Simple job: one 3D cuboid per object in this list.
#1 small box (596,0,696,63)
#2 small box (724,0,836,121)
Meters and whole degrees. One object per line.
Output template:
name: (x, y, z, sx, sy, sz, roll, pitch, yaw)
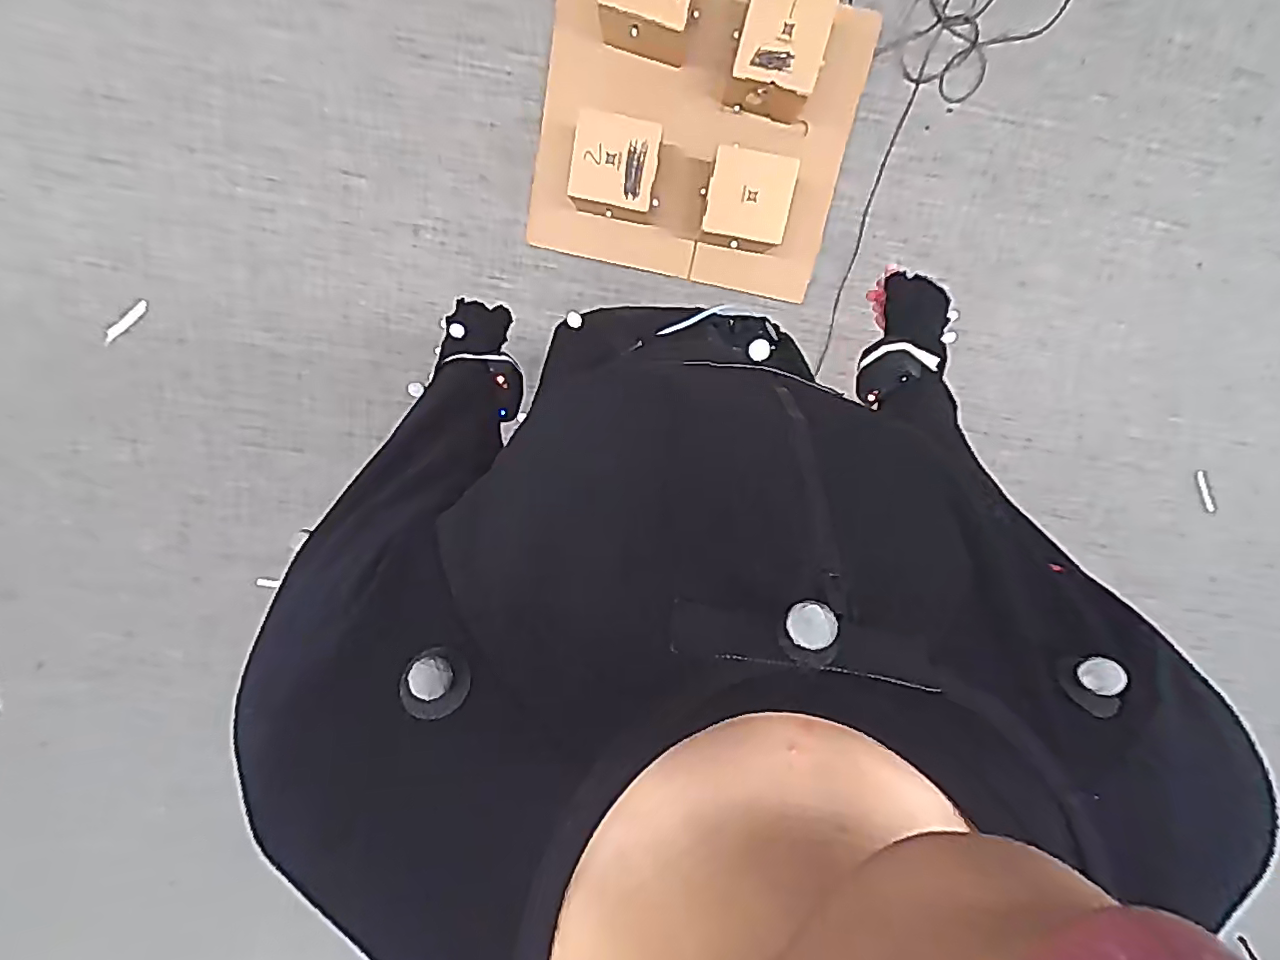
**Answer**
small box: (0.020, -0.986, 1.090, 0.179, 0.176, 0.168, 16, 108, -4)
small box: (0.279, -0.884, 1.124, 0.168, 0.176, 0.179, 14, 106, -2)
